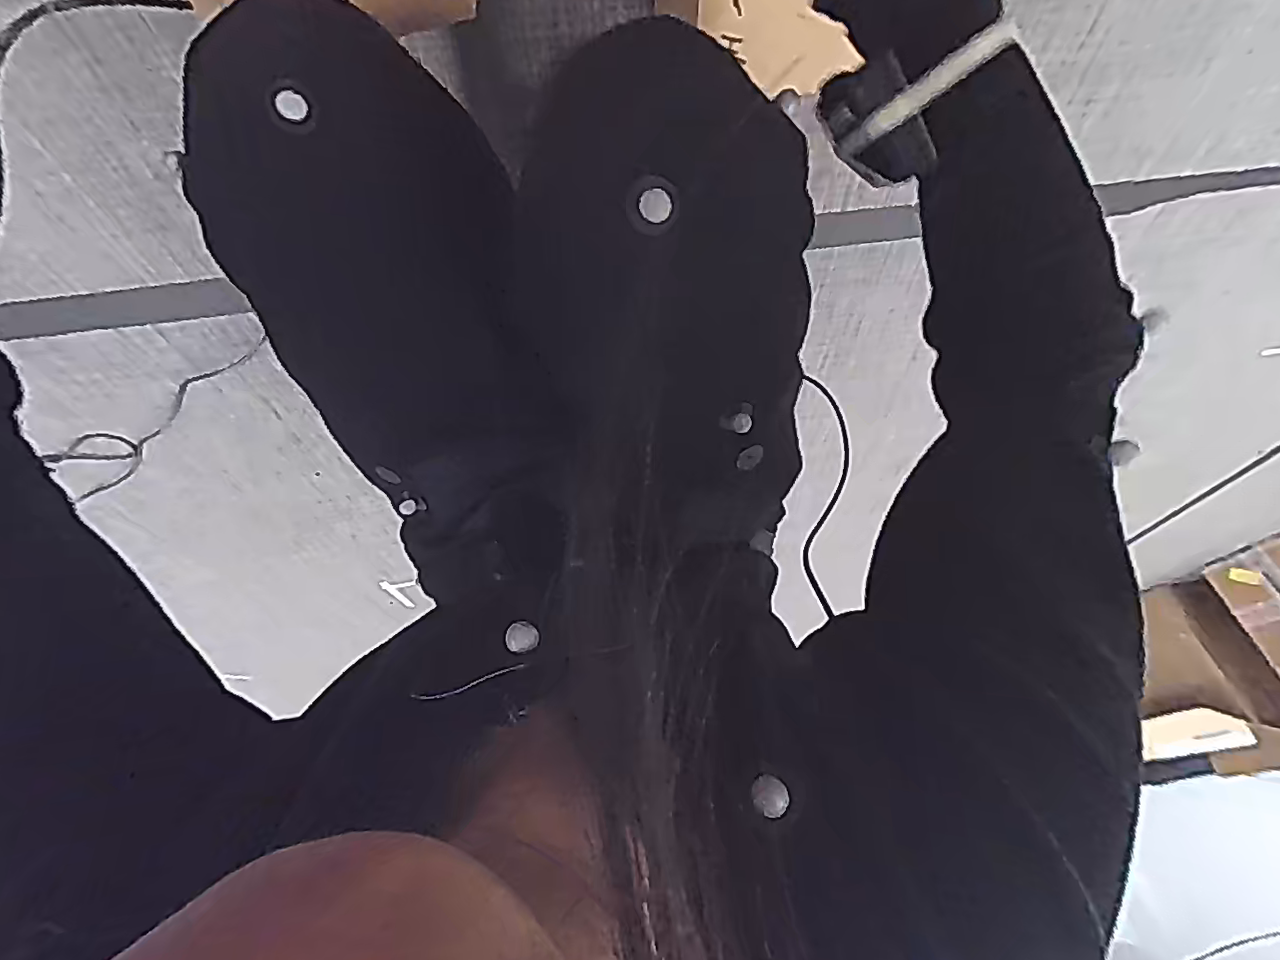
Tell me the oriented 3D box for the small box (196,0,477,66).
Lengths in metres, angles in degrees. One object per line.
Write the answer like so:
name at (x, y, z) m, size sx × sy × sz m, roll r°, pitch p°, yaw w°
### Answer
small box at (-0.208, -0.400, 0.324) m, size 0.168 × 0.176 × 0.179 m, roll -11°, pitch 149°, yaw 3°
